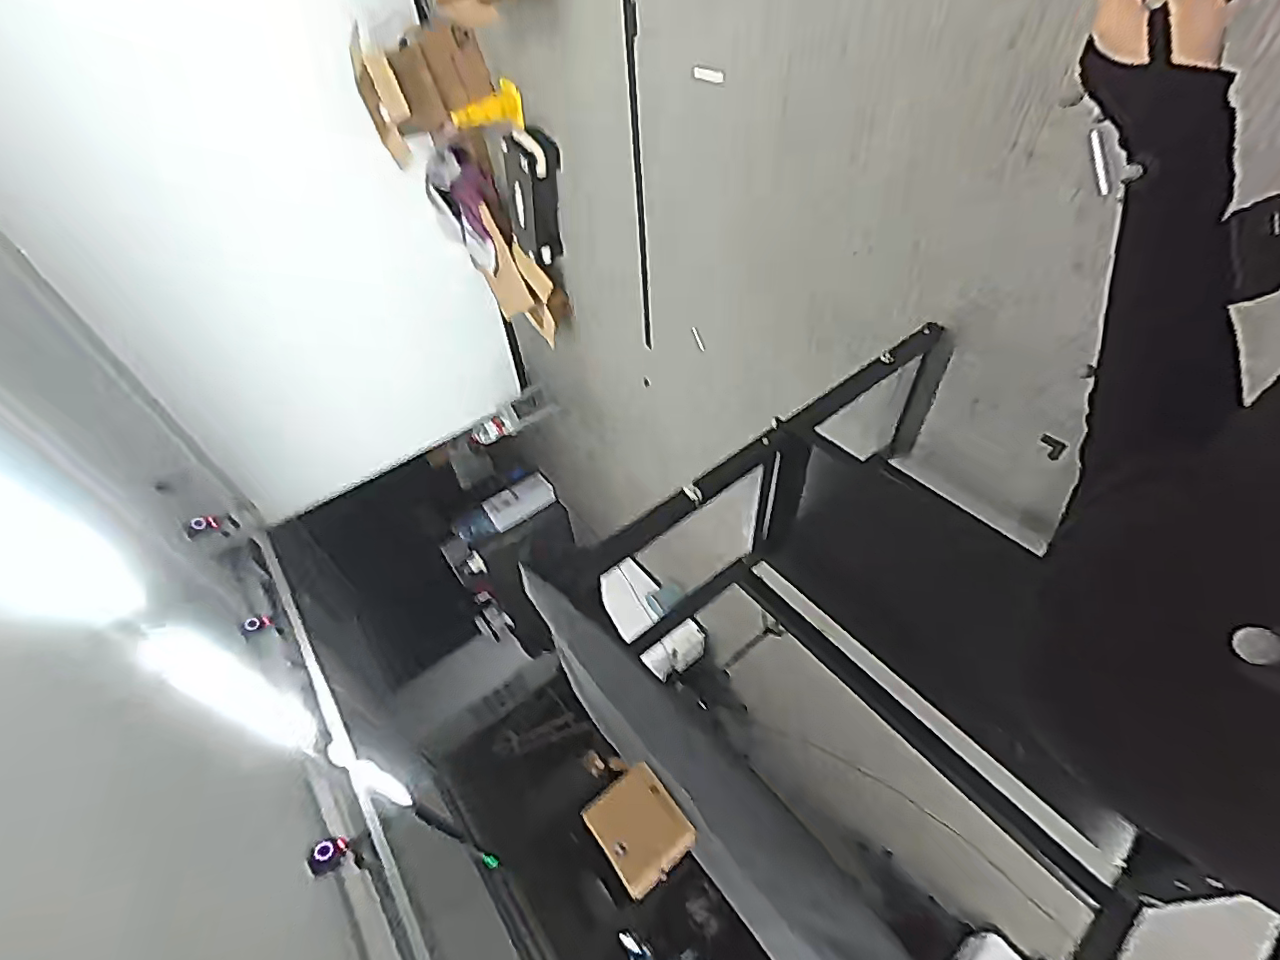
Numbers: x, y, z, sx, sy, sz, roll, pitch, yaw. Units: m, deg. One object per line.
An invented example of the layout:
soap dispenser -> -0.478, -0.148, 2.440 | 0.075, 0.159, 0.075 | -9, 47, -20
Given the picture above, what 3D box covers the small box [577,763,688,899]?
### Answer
small box -> -0.010, 0.753, 1.164 | 0.168, 0.176, 0.179 | 41, 152, 34
